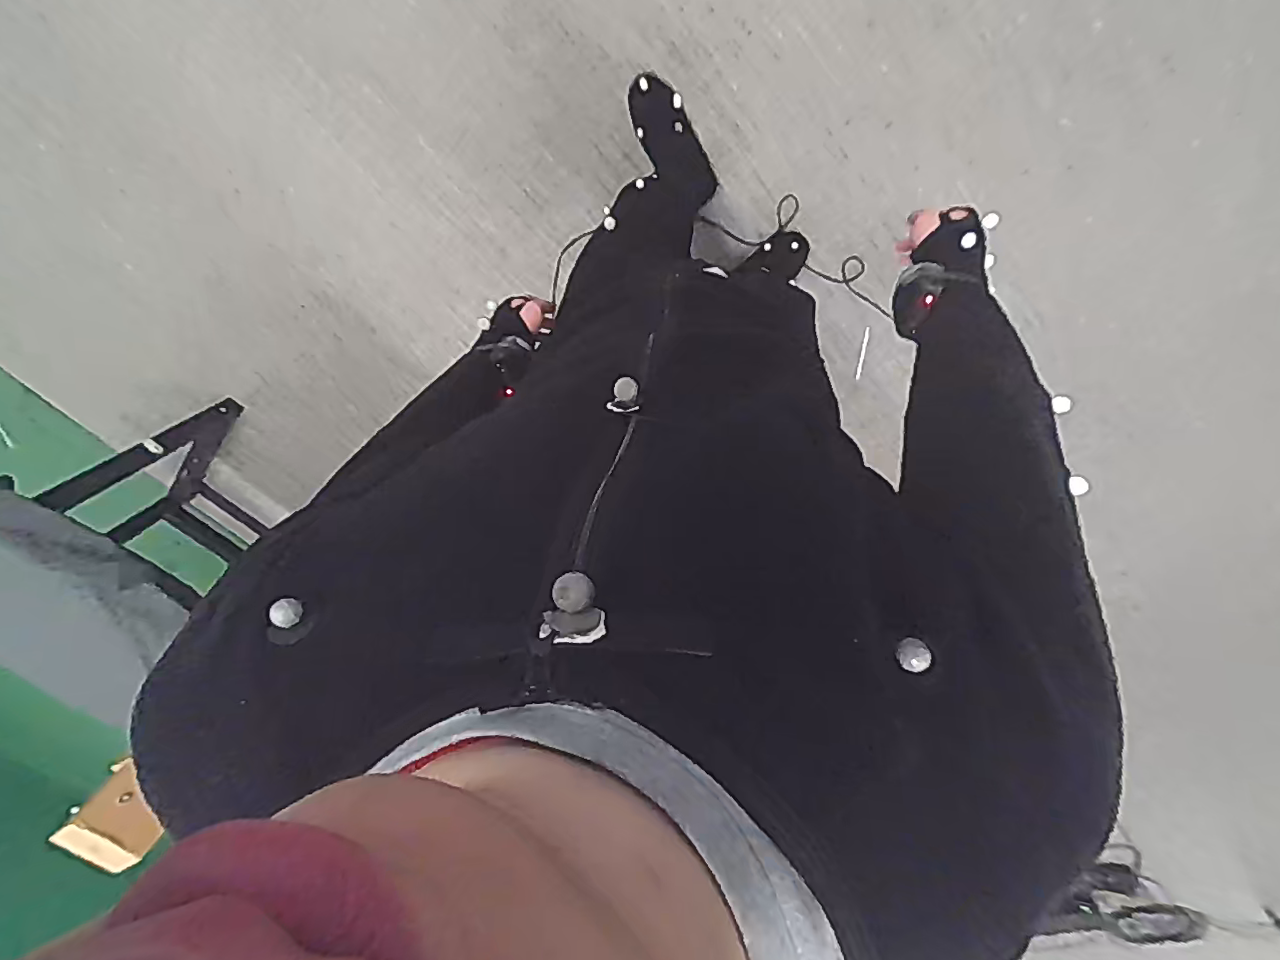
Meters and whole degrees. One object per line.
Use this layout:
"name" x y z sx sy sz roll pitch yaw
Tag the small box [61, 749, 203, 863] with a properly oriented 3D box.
"small box" -1.216 0.785 1.307 0.179 0.176 0.168 -33 109 27
